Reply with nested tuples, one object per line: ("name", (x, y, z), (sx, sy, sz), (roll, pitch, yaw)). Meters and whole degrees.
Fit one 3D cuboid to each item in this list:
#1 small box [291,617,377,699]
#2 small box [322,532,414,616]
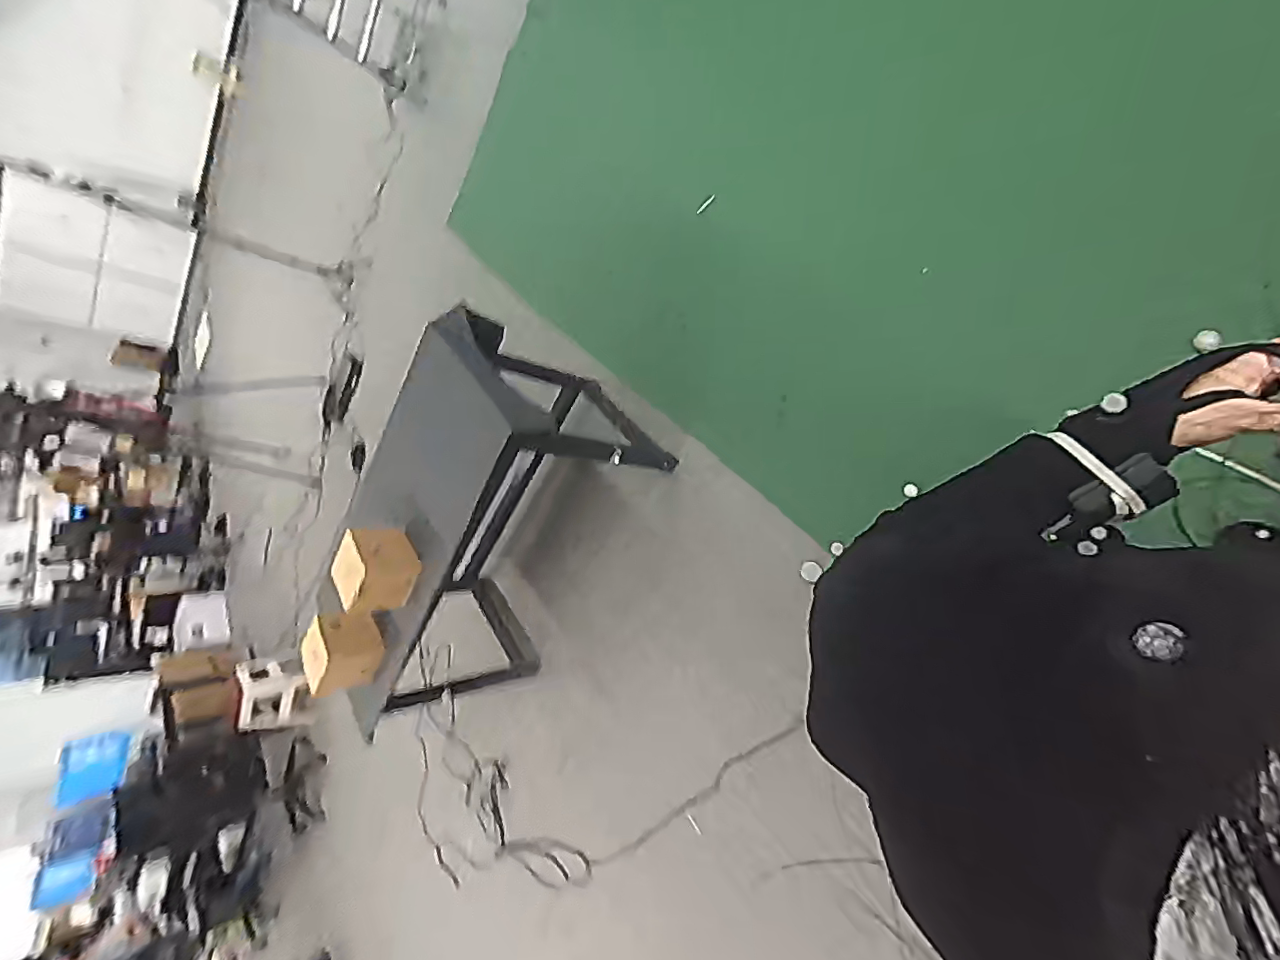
("small box", (-0.948, 0.543, 1.678), (0.179, 0.176, 0.168), (48, 116, 32))
("small box", (-0.790, 0.270, 1.574), (0.179, 0.176, 0.168), (46, 114, 32))
